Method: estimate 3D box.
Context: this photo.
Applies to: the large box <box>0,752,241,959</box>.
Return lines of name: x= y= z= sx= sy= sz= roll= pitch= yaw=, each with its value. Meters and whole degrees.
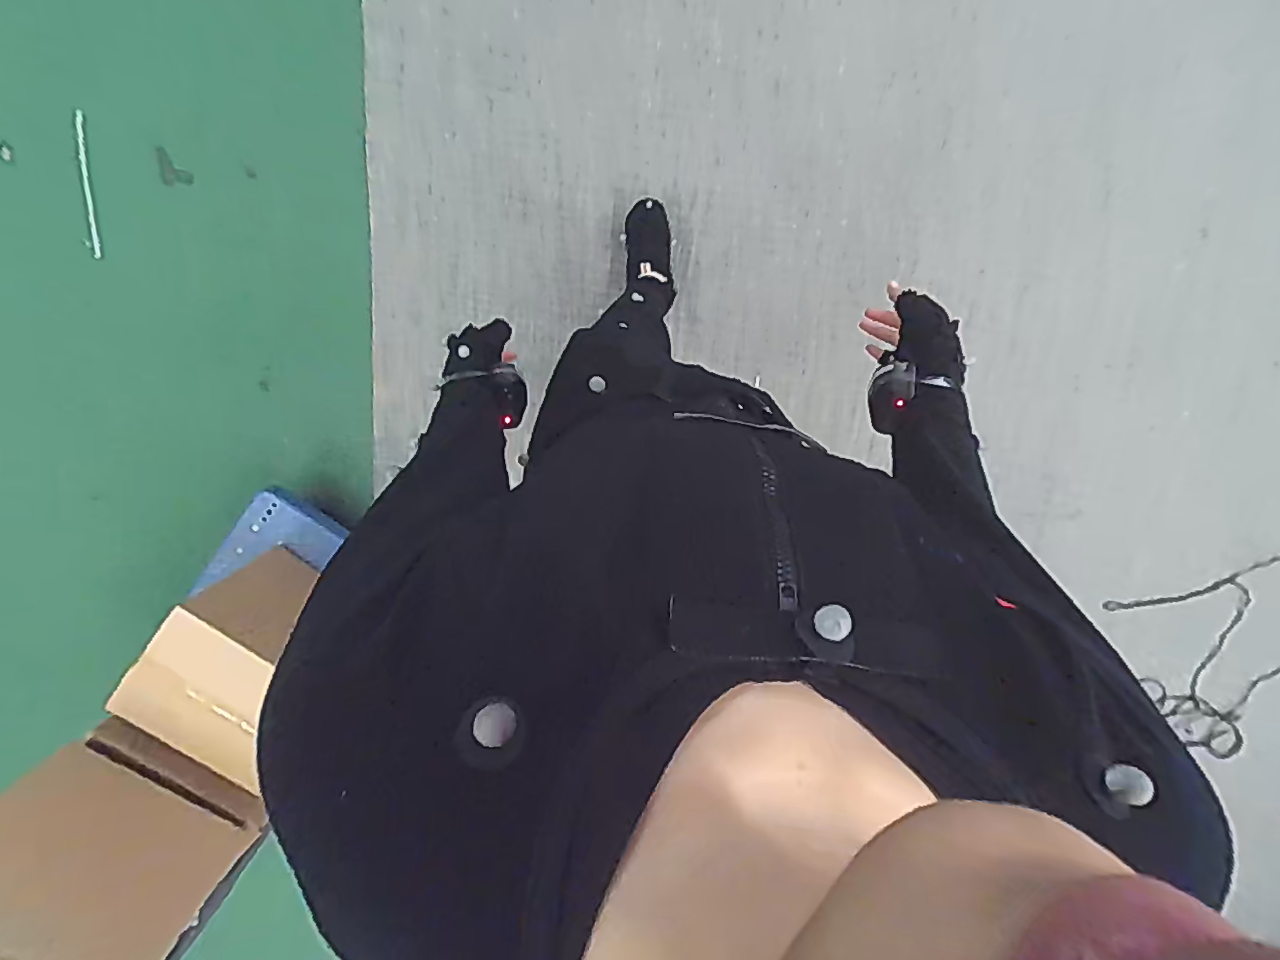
large box: x=-1.079 y=0.805 z=1.004 sx=0.408 sy=0.320 sz=0.320 roll=37 pitch=107 yaw=-9
